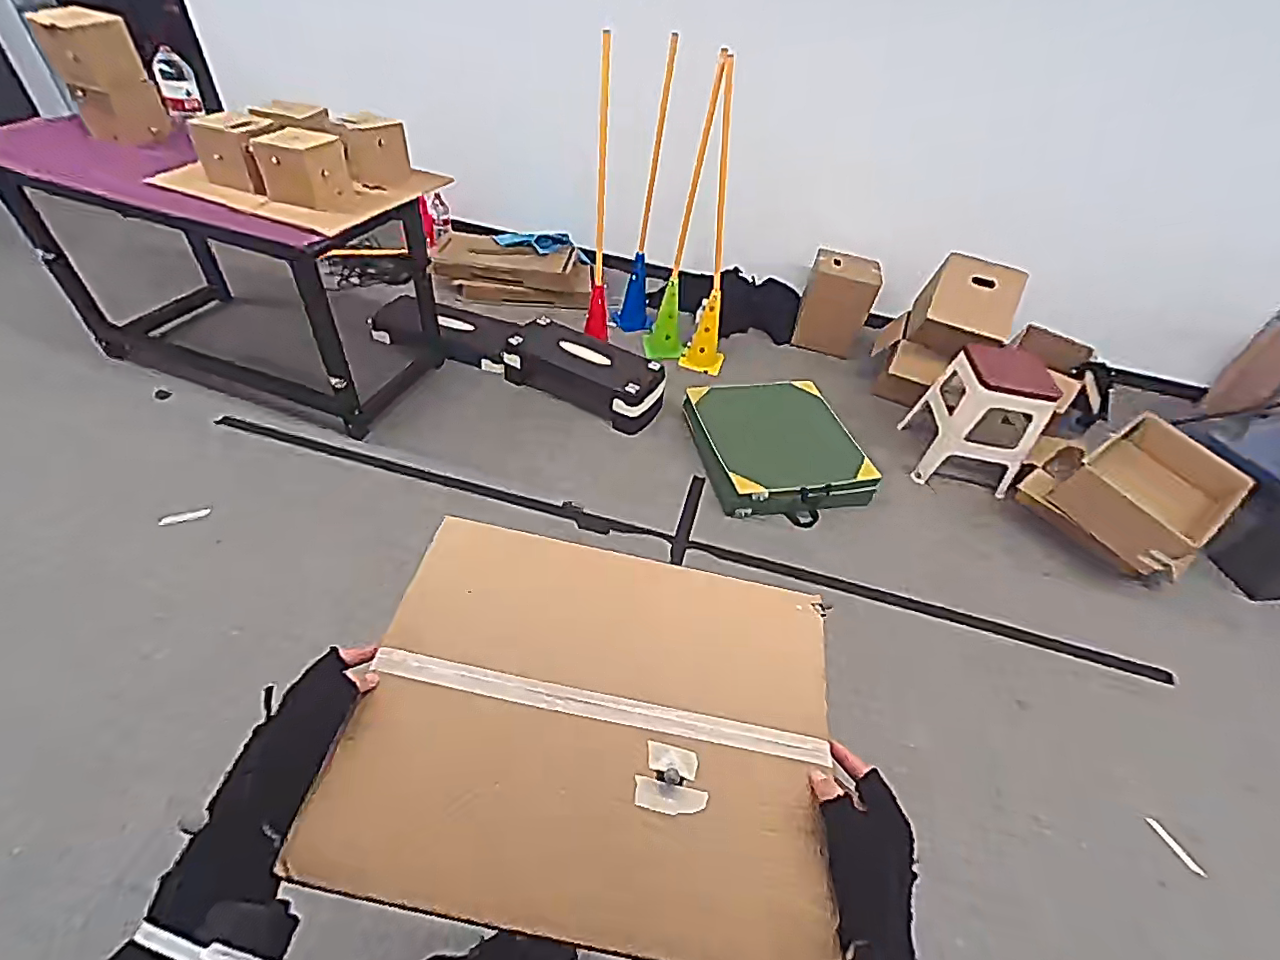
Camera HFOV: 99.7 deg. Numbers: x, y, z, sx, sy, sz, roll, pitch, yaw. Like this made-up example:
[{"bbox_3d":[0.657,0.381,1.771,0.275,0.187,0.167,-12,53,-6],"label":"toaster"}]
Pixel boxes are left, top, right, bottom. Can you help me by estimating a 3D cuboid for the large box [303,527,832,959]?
[{"bbox_3d":[-0.052,0.296,0.601,0.408,0.320,0.320,13,51,0],"label":"large box"}]
